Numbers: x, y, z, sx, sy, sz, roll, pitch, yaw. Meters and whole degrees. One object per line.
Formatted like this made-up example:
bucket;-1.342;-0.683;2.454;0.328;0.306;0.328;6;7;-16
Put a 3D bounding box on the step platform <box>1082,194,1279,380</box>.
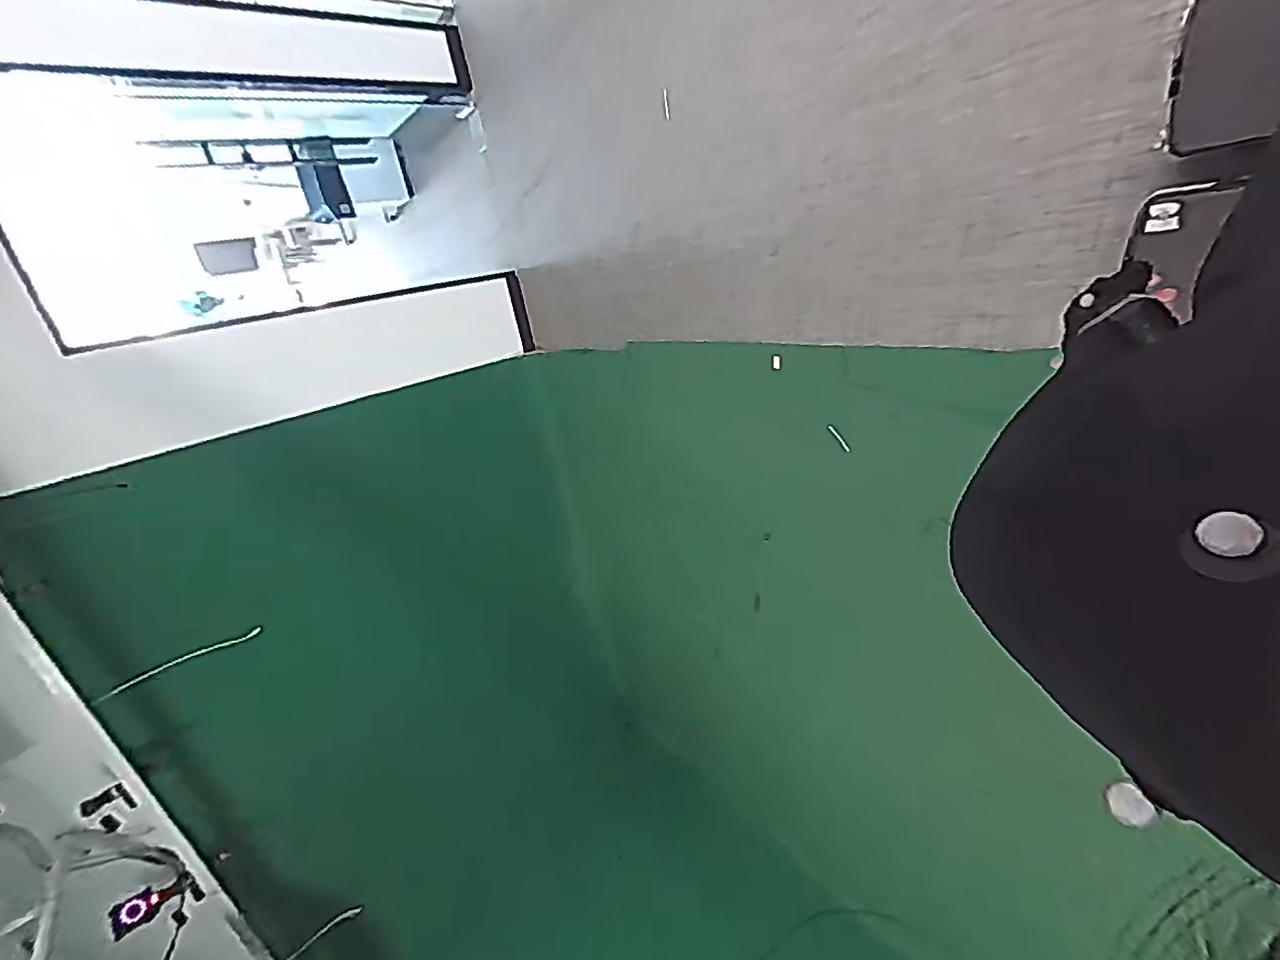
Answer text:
step platform;1.117;-0.299;0.806;0.684;0.204;0.286;15;123;47
